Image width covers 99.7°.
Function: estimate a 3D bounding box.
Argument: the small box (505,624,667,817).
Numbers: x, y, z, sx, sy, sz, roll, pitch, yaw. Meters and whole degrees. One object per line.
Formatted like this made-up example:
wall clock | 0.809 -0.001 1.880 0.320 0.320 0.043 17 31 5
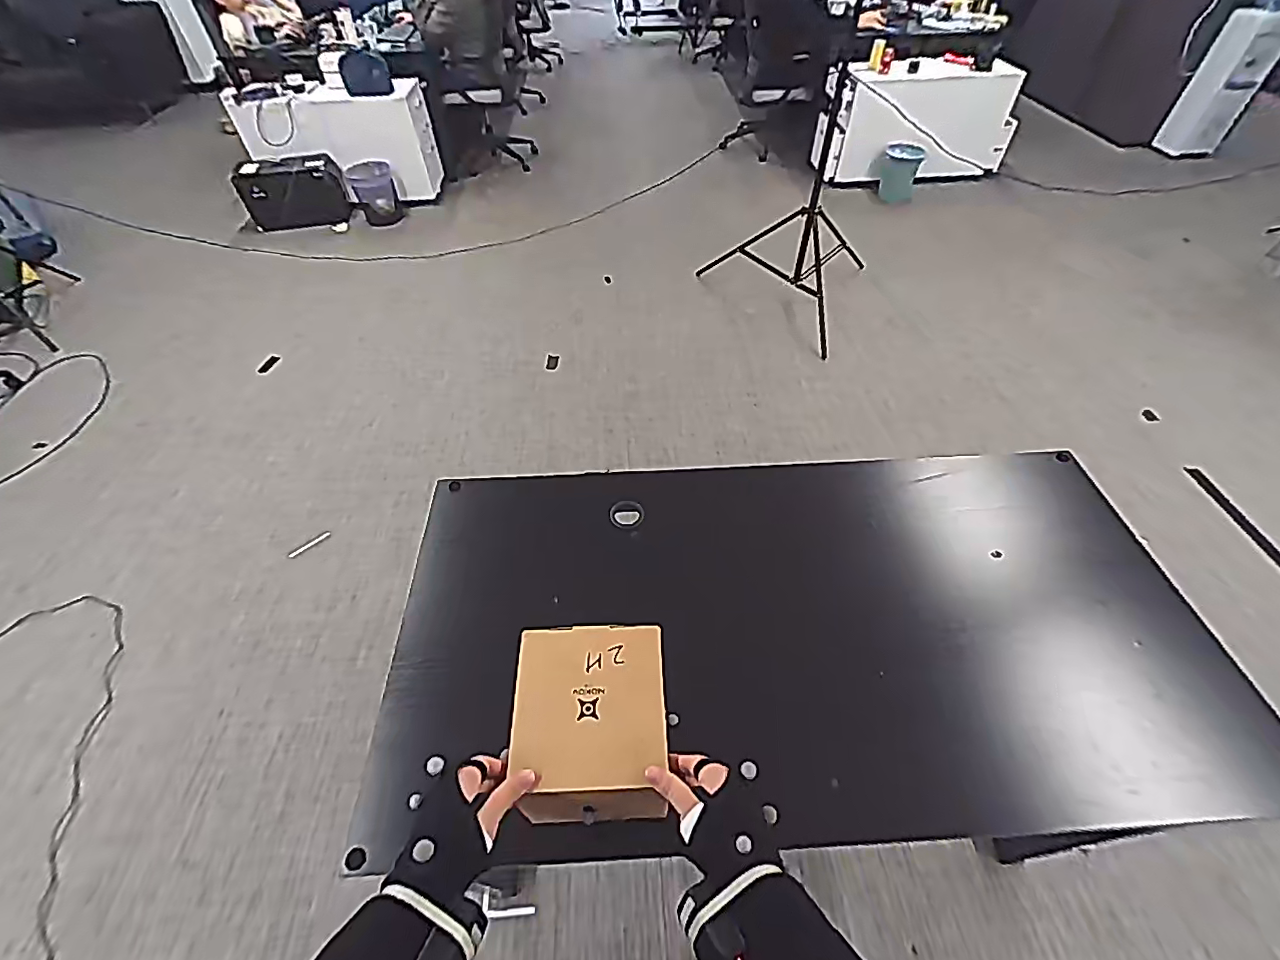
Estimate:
small box | -0.054 0.295 0.652 0.168 0.176 0.179 -3 48 -1
